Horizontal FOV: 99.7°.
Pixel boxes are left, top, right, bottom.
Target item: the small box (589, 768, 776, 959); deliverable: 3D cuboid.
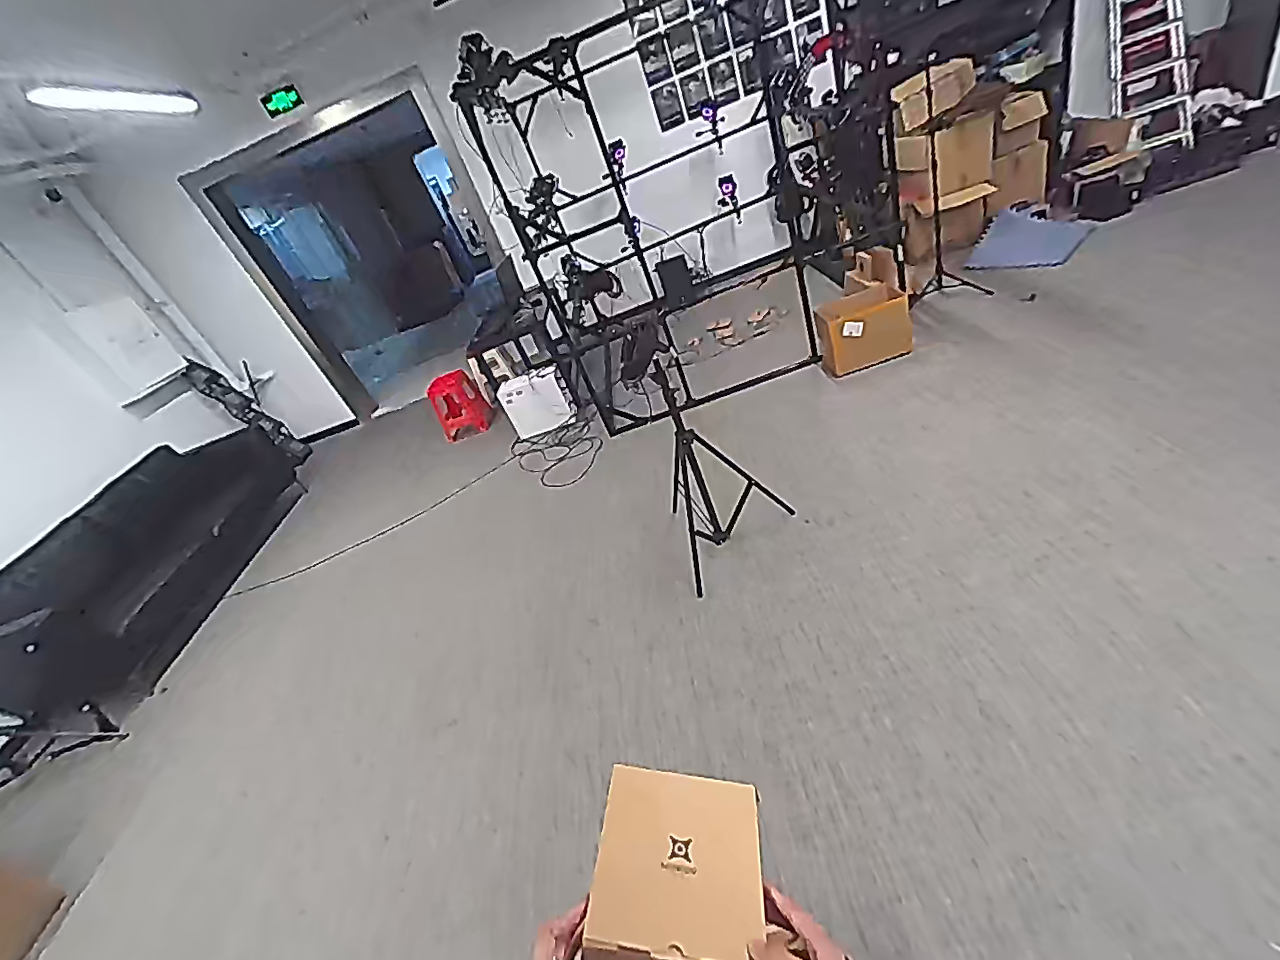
[{"bbox_3d":[0.040,0.448,0.572,0.168,0.176,0.179,6,27,4],"label":"small box"}]
